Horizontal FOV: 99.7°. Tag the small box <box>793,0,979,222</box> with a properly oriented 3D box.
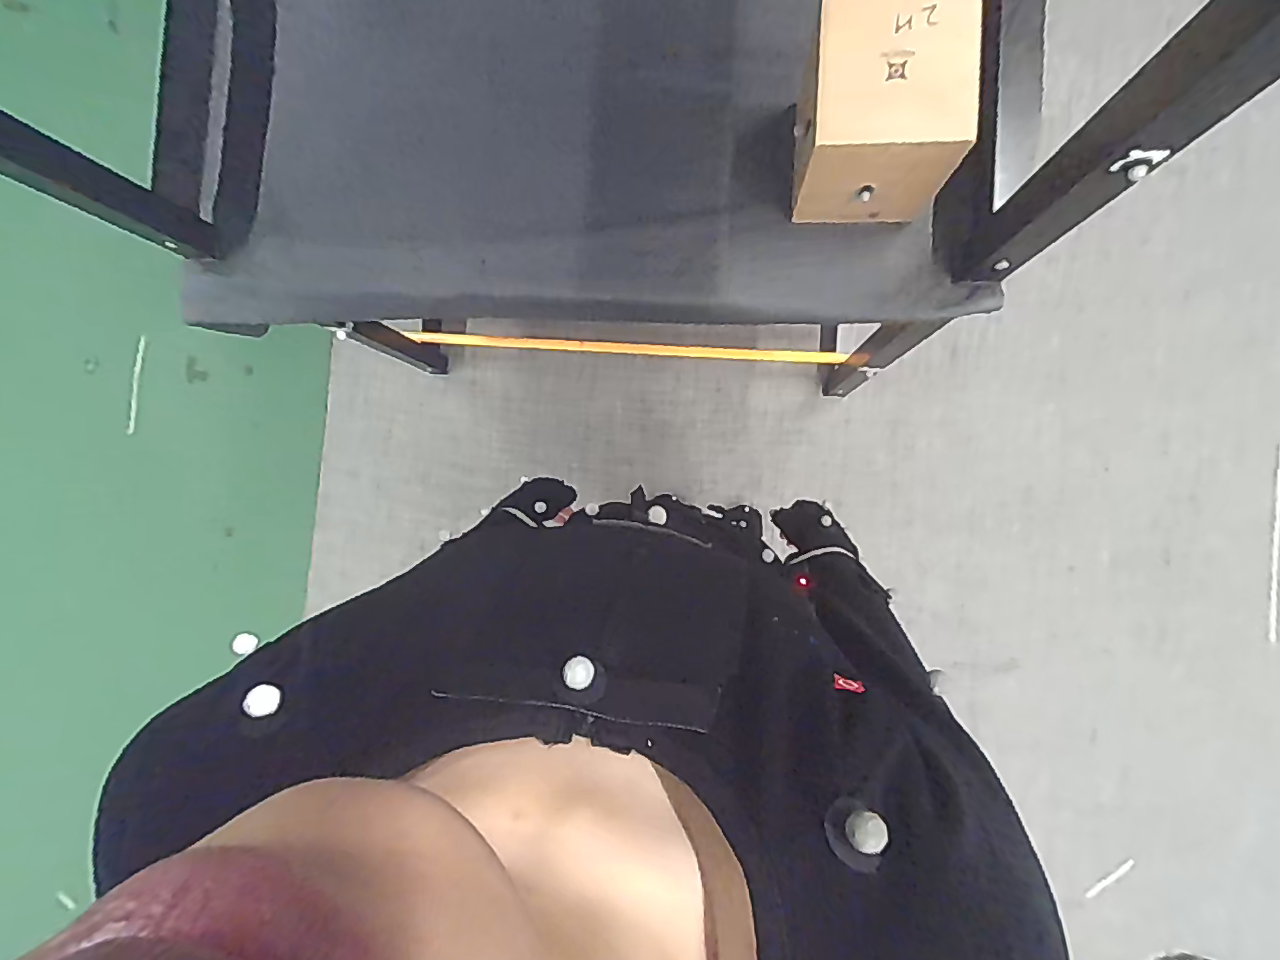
[{"bbox_3d":[0.286,-0.437,0.662,0.168,0.176,0.179,3,88,7],"label":"small box"}]
